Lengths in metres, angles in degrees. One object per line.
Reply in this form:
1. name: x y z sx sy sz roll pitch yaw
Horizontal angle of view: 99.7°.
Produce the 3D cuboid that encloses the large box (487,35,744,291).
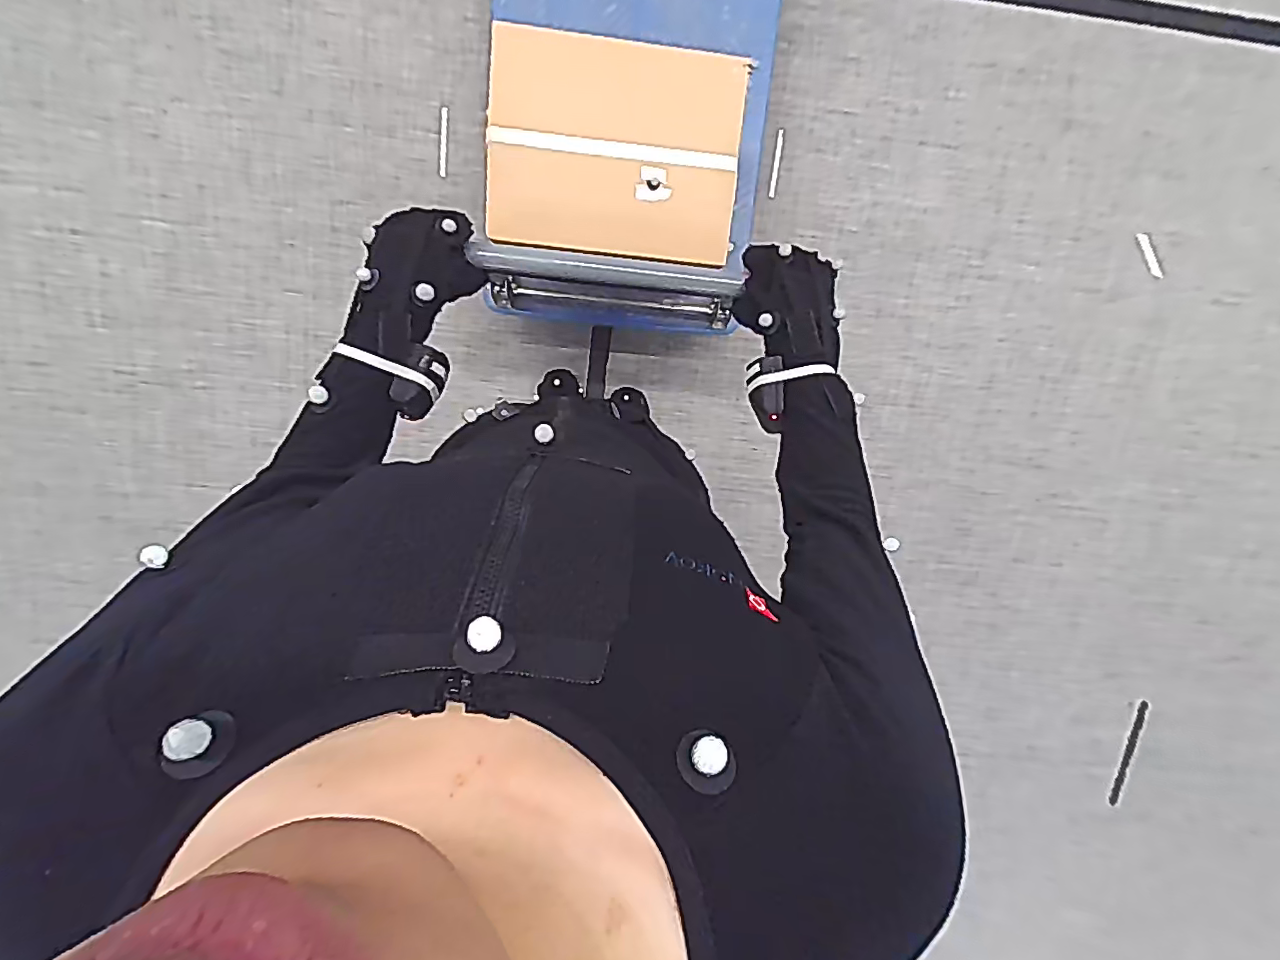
1. large box: -0.055 -0.551 1.016 0.408 0.320 0.320 4 103 -5
